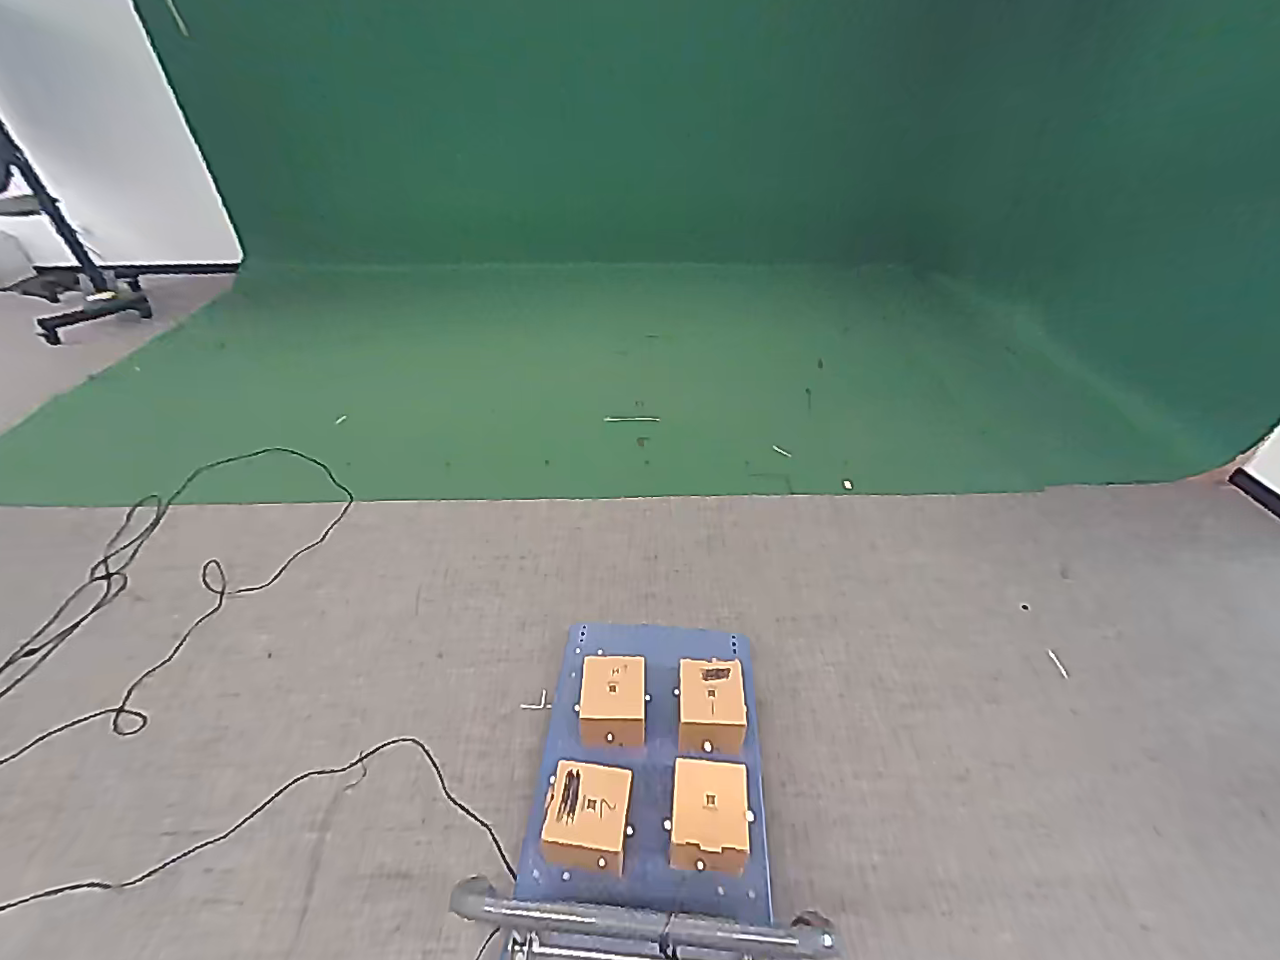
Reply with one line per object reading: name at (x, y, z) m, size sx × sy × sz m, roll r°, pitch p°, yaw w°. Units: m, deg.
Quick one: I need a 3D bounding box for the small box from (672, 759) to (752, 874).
small box at (0.162, 0.777, 1.250) m, size 0.168 × 0.176 × 0.179 m, roll 4°, pitch 41°, yaw 4°

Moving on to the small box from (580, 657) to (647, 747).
small box at (-0.066, 0.600, 1.457) m, size 0.168 × 0.176 × 0.179 m, roll 1°, pitch 40°, yaw 0°

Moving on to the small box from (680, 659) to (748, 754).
small box at (0.192, 0.606, 1.448) m, size 0.168 × 0.176 × 0.179 m, roll 1°, pitch 41°, yaw 3°
